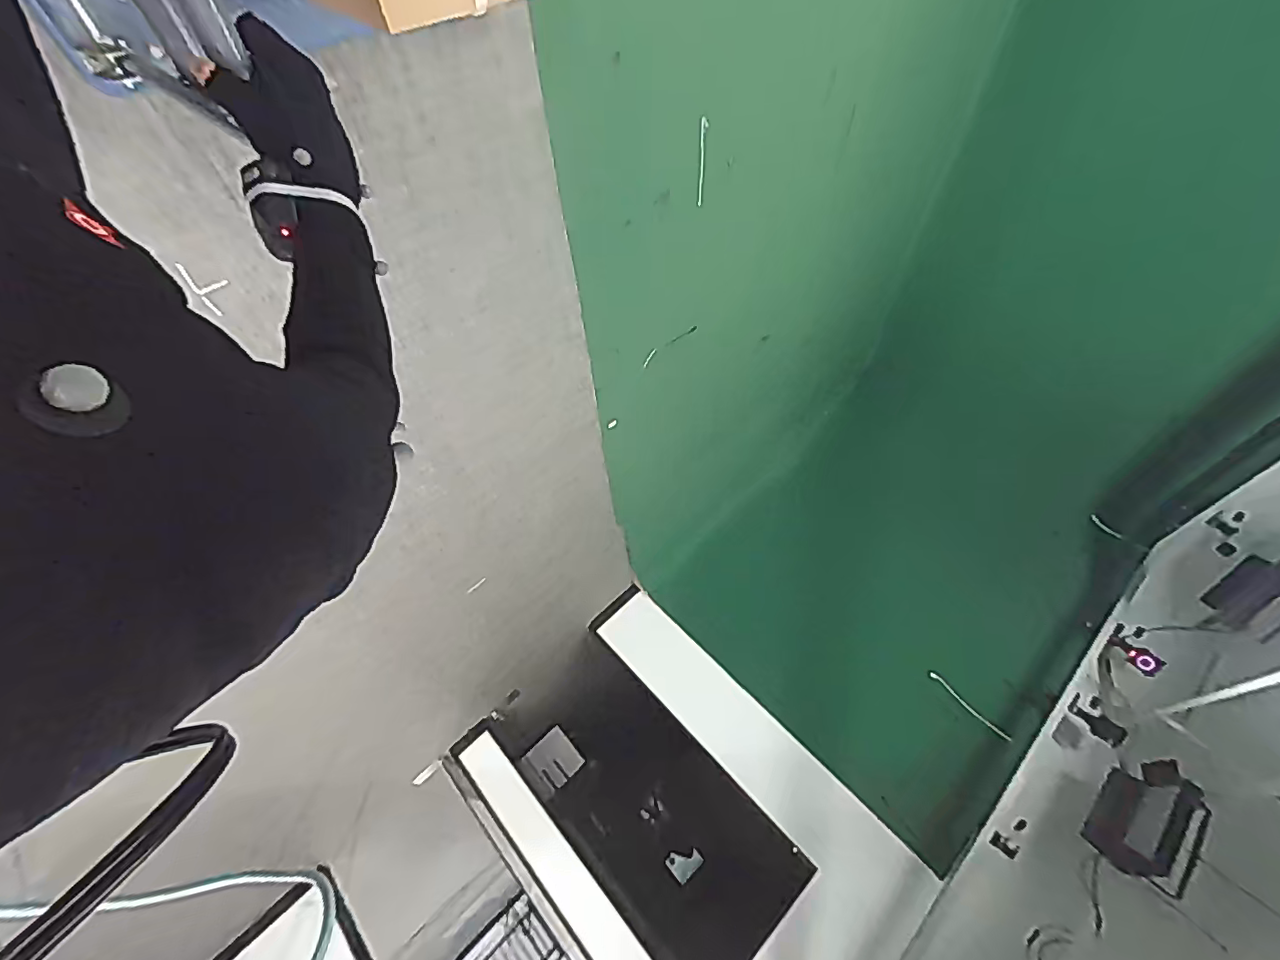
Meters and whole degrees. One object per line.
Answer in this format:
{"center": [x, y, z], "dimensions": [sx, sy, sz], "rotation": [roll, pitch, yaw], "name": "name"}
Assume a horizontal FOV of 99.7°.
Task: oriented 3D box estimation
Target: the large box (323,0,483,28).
{"center": [-0.369, -0.949, 0.759], "dimensions": [0.320, 0.320, 0.408], "rotation": [-39, 150, -22], "name": "large box"}
